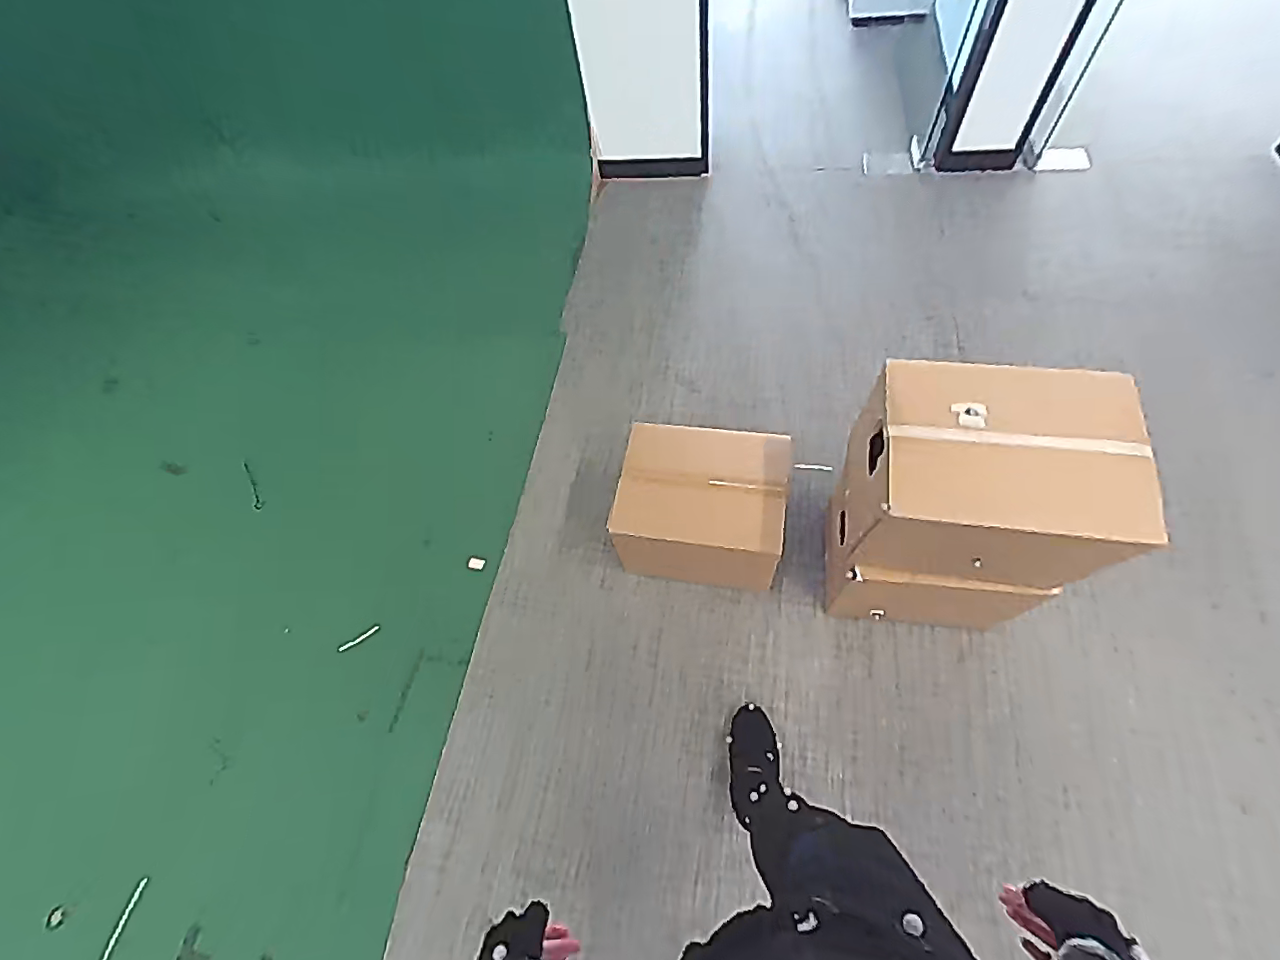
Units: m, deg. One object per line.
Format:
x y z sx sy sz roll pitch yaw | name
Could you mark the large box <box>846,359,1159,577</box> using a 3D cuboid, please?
0.638 -0.012 1.042 0.408 0.320 0.320 6 67 12 | large box
